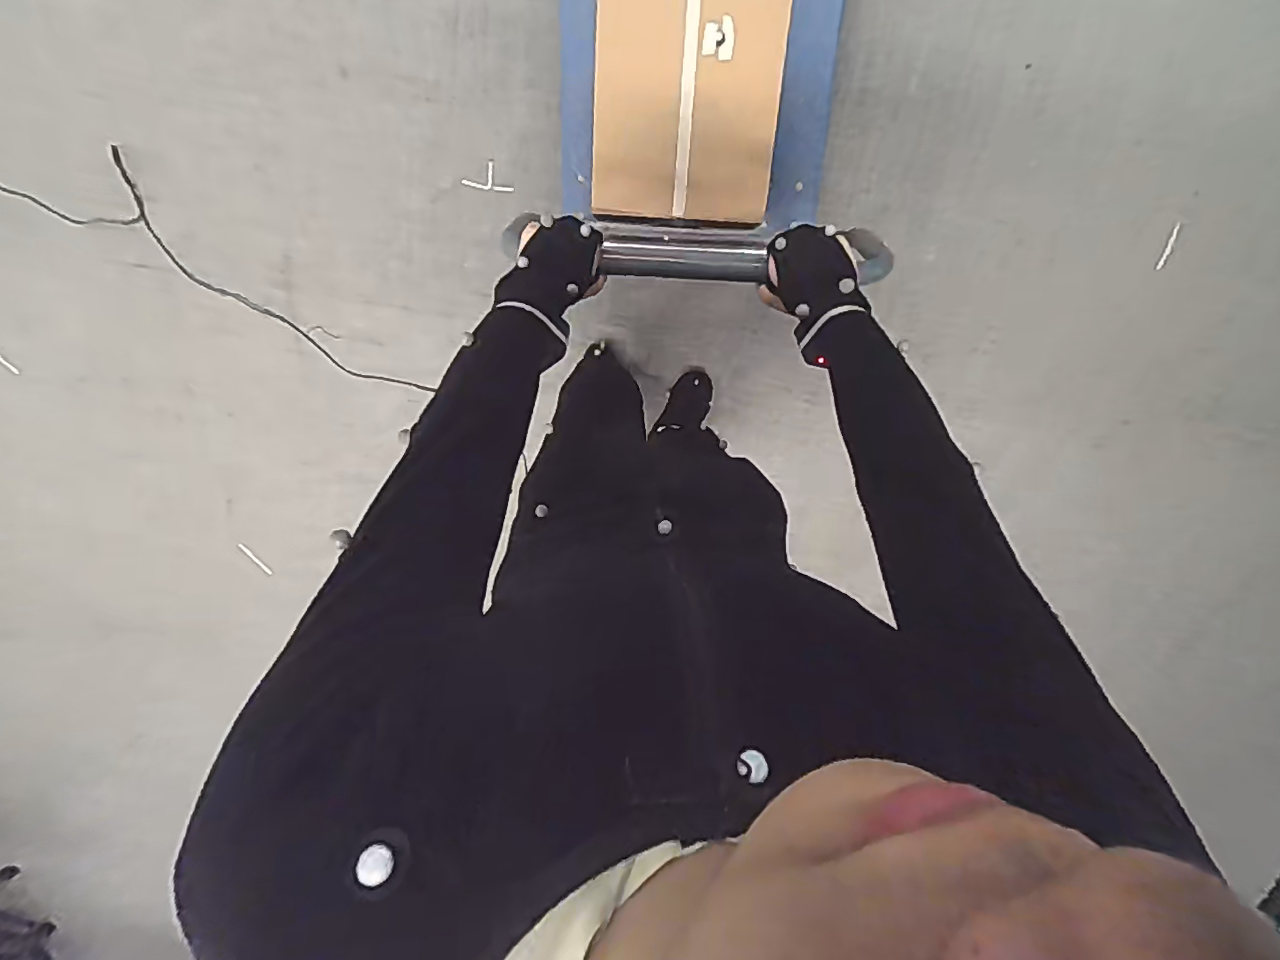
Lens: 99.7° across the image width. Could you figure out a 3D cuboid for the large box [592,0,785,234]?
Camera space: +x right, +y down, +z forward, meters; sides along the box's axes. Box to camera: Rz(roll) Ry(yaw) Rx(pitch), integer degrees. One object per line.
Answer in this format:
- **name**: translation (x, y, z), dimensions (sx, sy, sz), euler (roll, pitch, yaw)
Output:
- **large box**: translation (0.086, -0.719, 1.057), dimensions (0.320, 0.320, 0.408), euler (4, 108, 2)
